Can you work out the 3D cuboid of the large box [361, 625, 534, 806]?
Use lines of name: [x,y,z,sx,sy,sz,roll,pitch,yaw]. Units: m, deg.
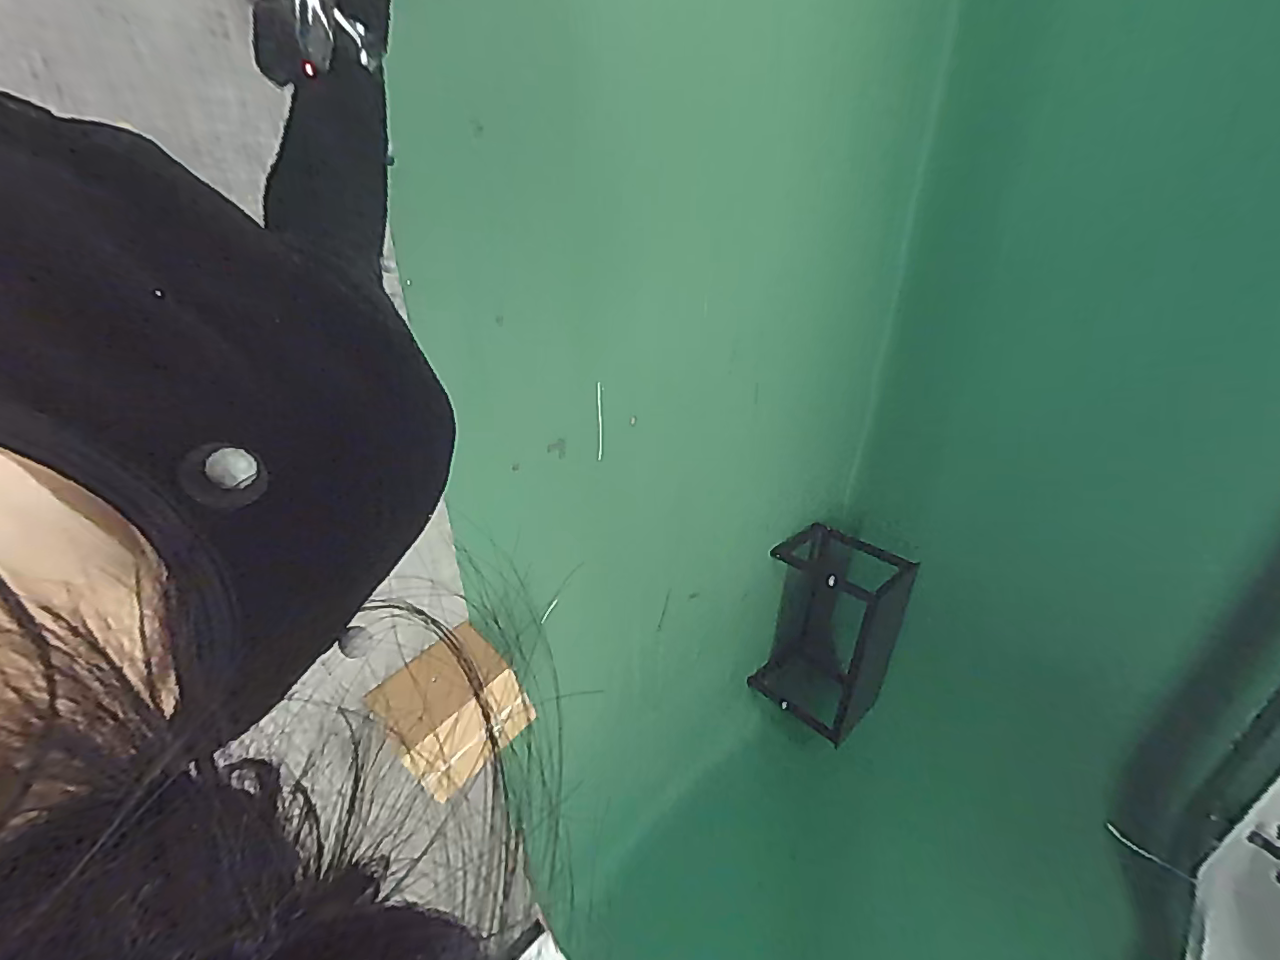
large box: [-0.648,0.789,1.853,0.408,0.320,0.320,-38,134,-30]
